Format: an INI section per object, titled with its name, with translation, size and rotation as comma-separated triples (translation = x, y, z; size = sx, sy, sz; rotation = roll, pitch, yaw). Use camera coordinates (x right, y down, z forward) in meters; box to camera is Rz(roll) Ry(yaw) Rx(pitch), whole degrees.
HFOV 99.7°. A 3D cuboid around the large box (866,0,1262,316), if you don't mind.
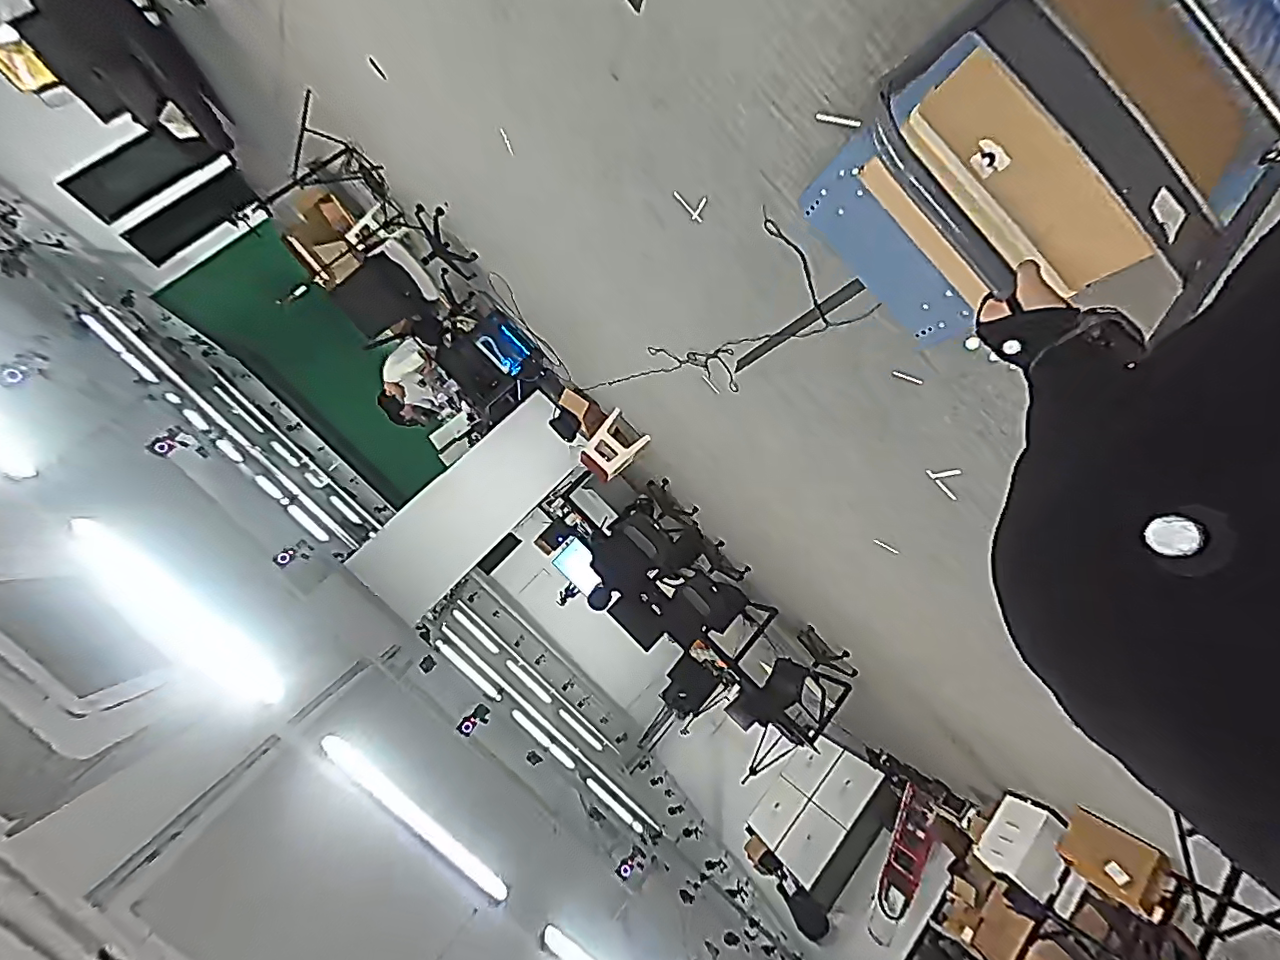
[large box]
translation = 0.704, -0.578, 0.936
size = 0.408, 0.320, 0.320
rotation = 46, 165, -5
